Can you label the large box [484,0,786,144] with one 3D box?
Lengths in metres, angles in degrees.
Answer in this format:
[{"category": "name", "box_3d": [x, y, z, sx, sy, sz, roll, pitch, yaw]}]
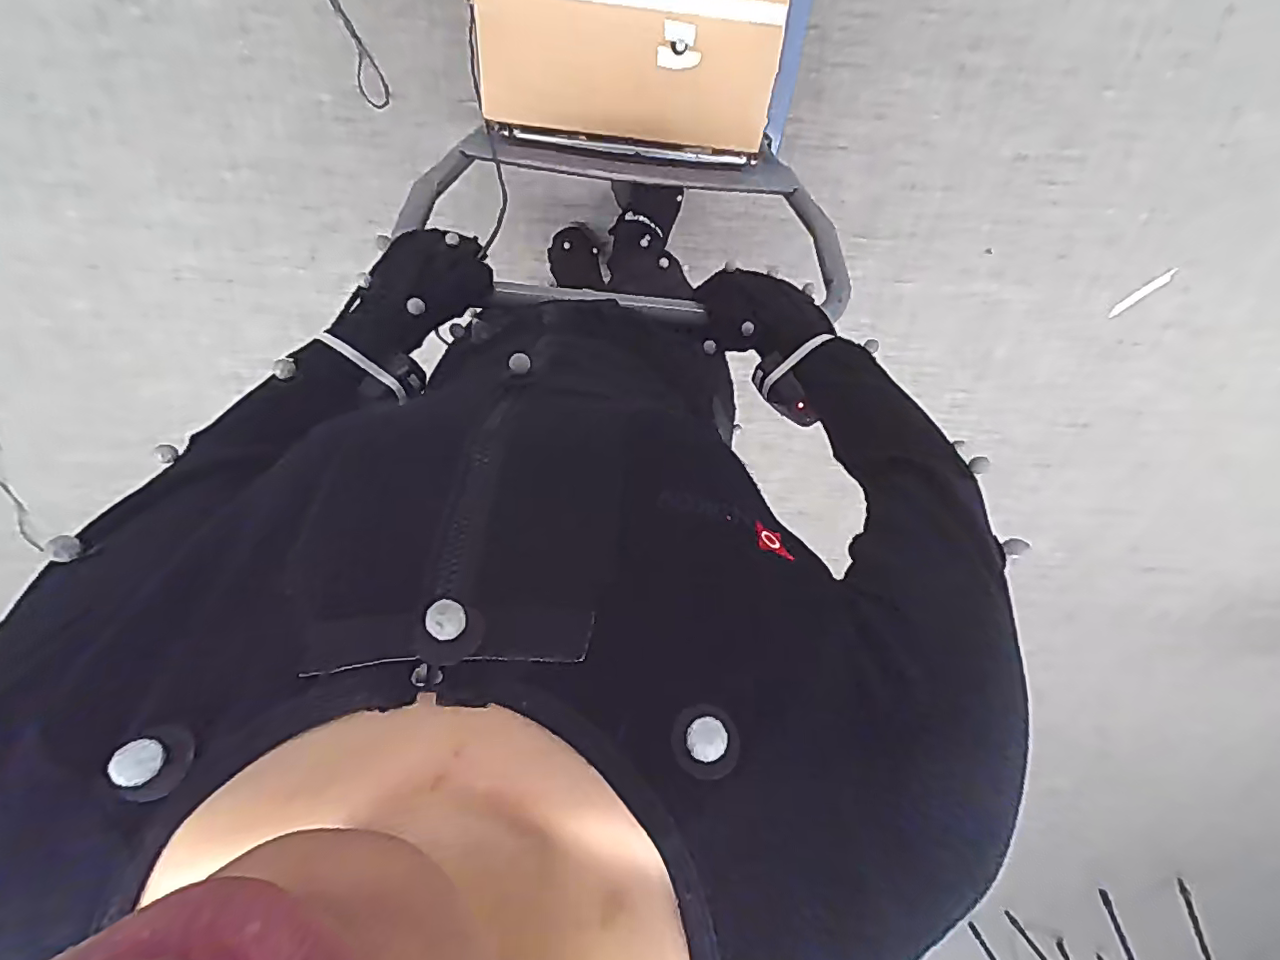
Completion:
[{"category": "large box", "box_3d": [-0.010, -0.726, 0.822, 0.408, 0.320, 0.320, 4, 129, -5]}]
